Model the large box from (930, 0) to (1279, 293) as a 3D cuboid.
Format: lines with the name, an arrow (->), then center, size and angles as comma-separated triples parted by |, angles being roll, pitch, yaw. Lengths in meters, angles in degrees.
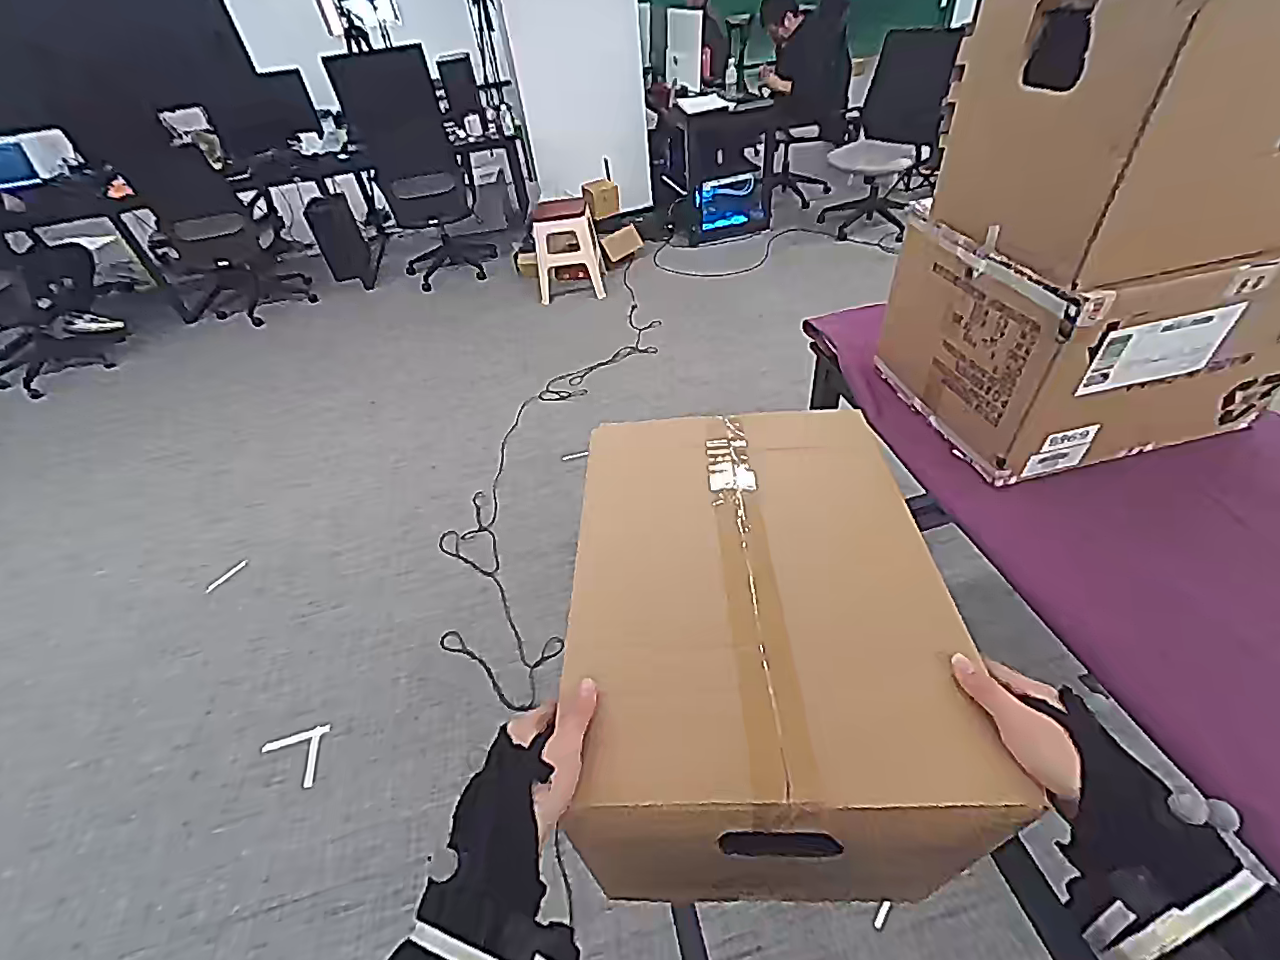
large box -> 0.692, -0.490, 0.721 | 0.408, 0.320, 0.320 | -14, 42, -6
